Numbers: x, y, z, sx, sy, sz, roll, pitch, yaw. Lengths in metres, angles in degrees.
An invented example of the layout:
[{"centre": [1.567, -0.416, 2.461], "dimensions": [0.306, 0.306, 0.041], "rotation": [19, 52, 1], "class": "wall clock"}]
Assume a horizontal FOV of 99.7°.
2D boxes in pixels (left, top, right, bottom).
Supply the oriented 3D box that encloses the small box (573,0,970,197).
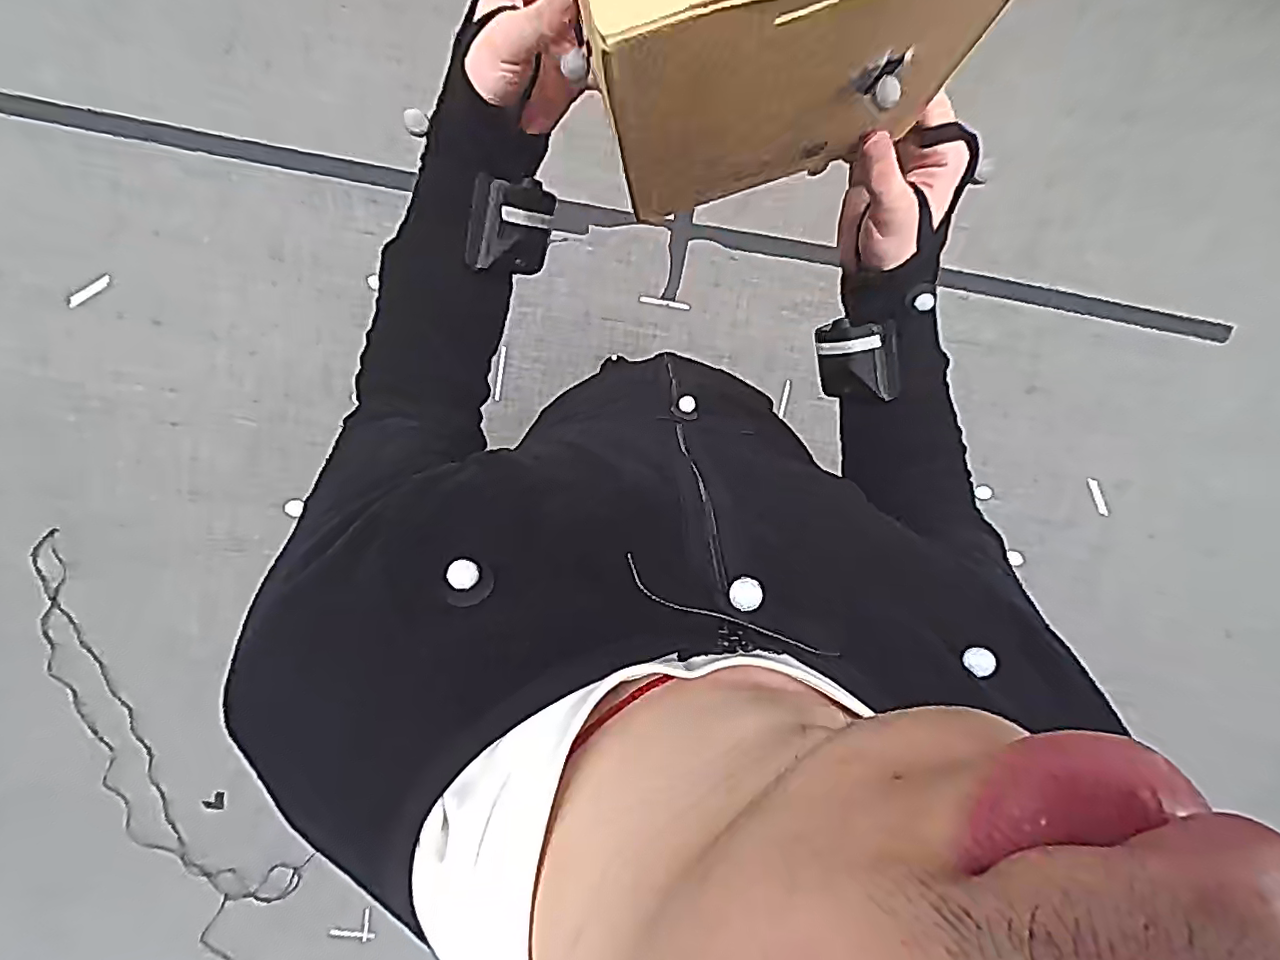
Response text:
[{"centre": [0.047, -0.259, 0.248], "dimensions": [0.168, 0.176, 0.179], "rotation": [-17, 95, 5], "class": "small box"}]
